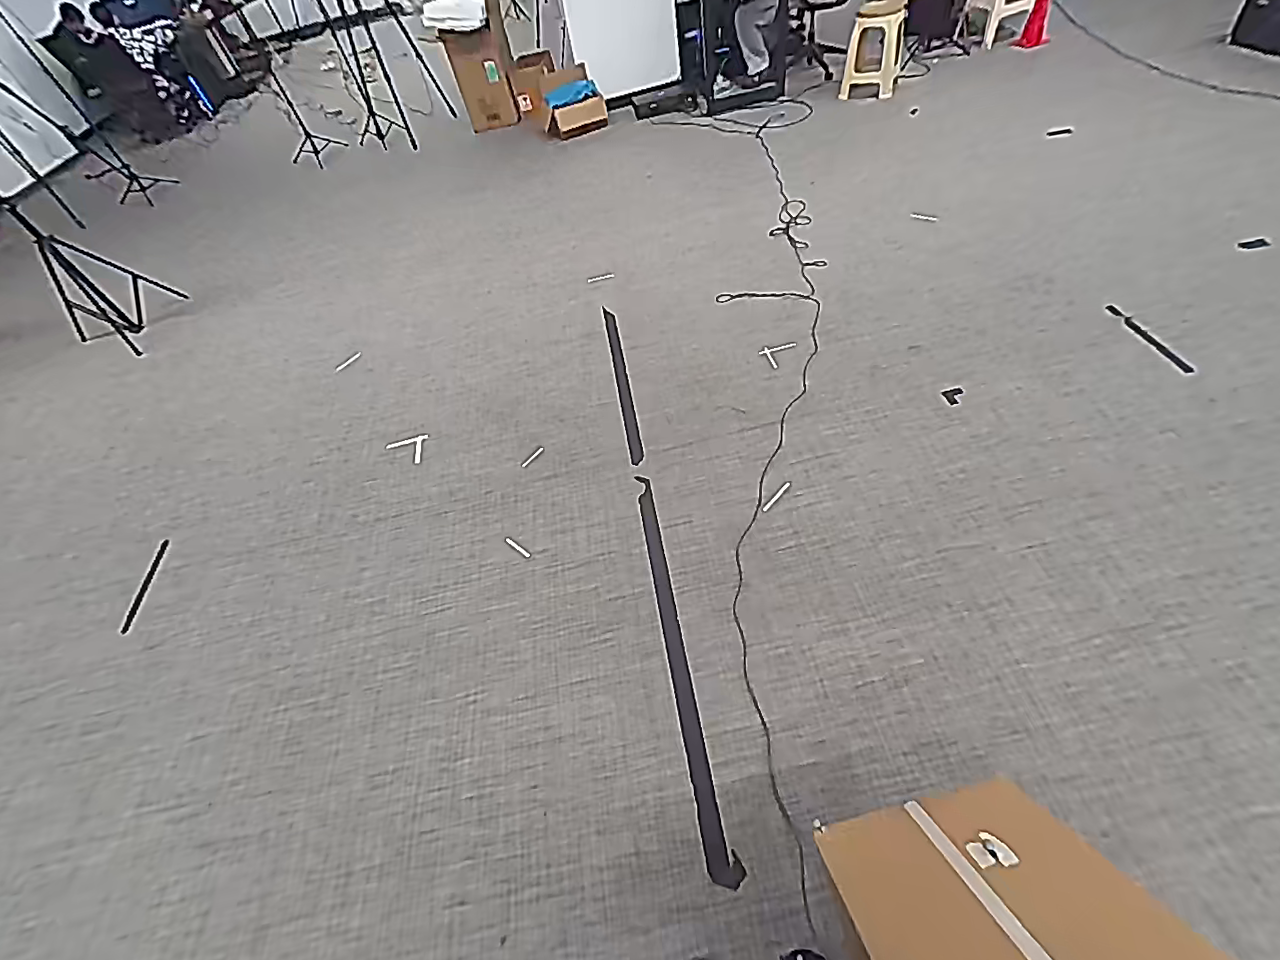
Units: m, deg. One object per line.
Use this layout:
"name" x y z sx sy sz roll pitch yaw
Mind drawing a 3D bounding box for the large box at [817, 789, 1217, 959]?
"large box" 0.462 0.660 0.638 0.320 0.408 0.320 -15 88 0
